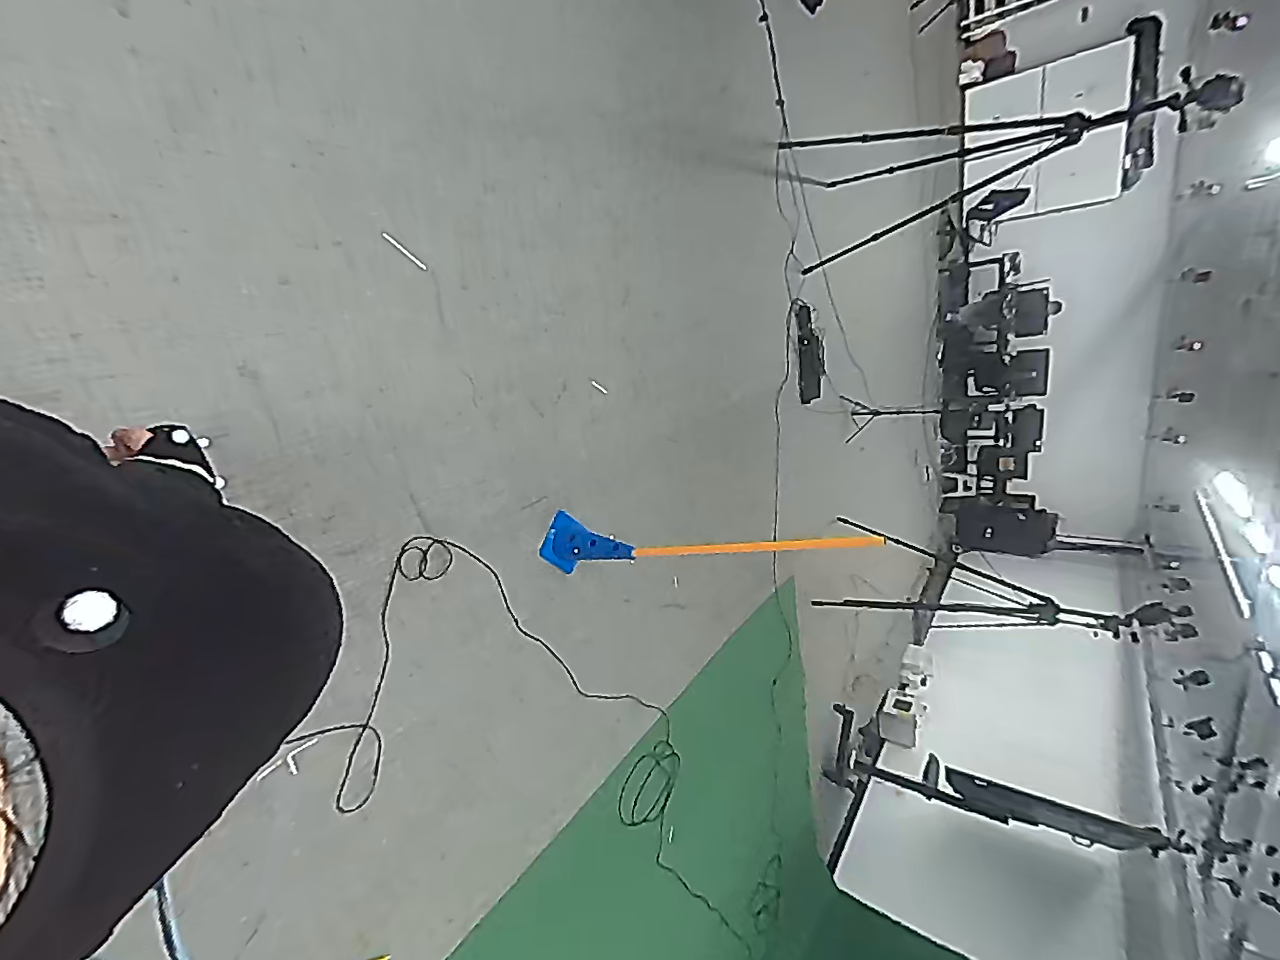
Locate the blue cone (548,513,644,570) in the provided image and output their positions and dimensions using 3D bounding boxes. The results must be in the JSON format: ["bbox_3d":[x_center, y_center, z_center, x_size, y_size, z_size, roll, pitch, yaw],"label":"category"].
[{"bbox_3d":[-0.148,0.244,2.016,0.192,0.380,0.193,42,59,-44],"label":"blue cone"}]
